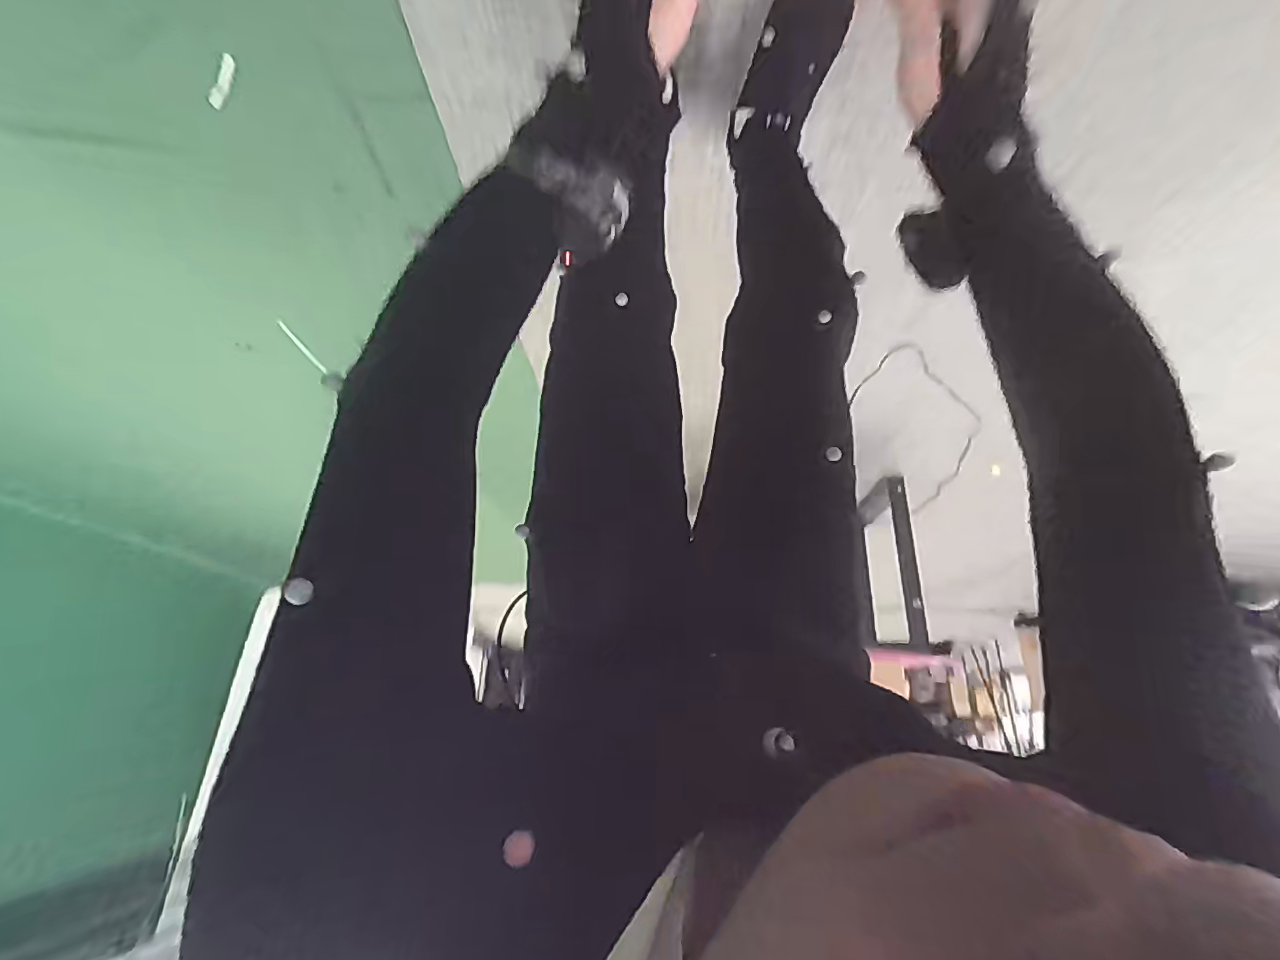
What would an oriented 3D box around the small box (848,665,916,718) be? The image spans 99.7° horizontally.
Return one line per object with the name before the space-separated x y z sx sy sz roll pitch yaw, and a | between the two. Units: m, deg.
small box | 0.883 0.775 1.989 0.179 0.176 0.168 2 159 3
